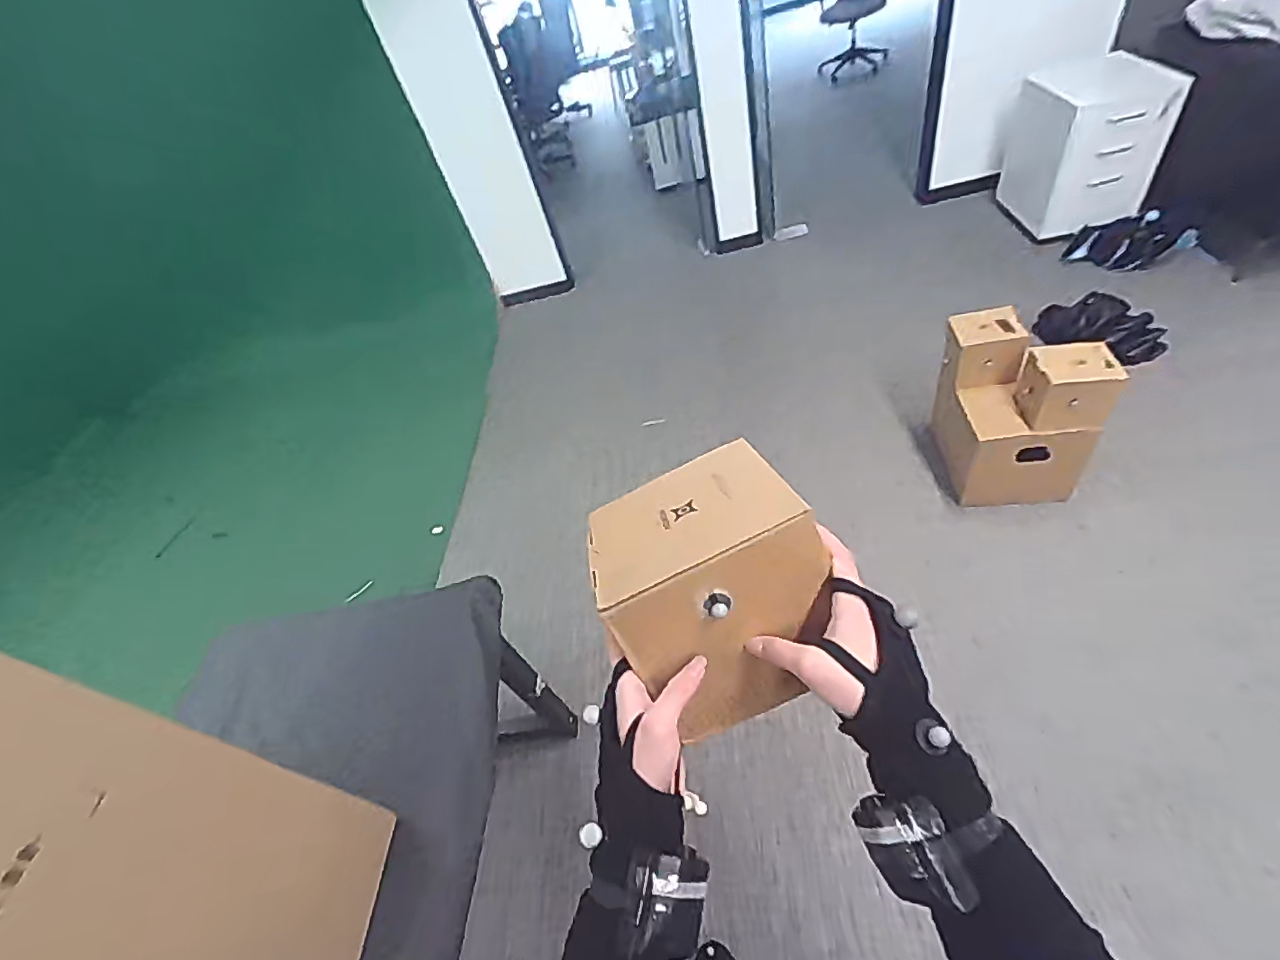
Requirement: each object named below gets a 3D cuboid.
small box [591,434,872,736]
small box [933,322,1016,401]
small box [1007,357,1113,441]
[{"bbox_3d":[0.074,0.089,0.485,0.179,0.176,0.168,-26,23,2],"label":"small box"},{"bbox_3d":[1.048,-0.370,1.709,0.179,0.176,0.168,-6,45,16],"label":"small box"},{"bbox_3d":[1.170,-0.224,1.527,0.179,0.176,0.168,-3,45,13],"label":"small box"}]
